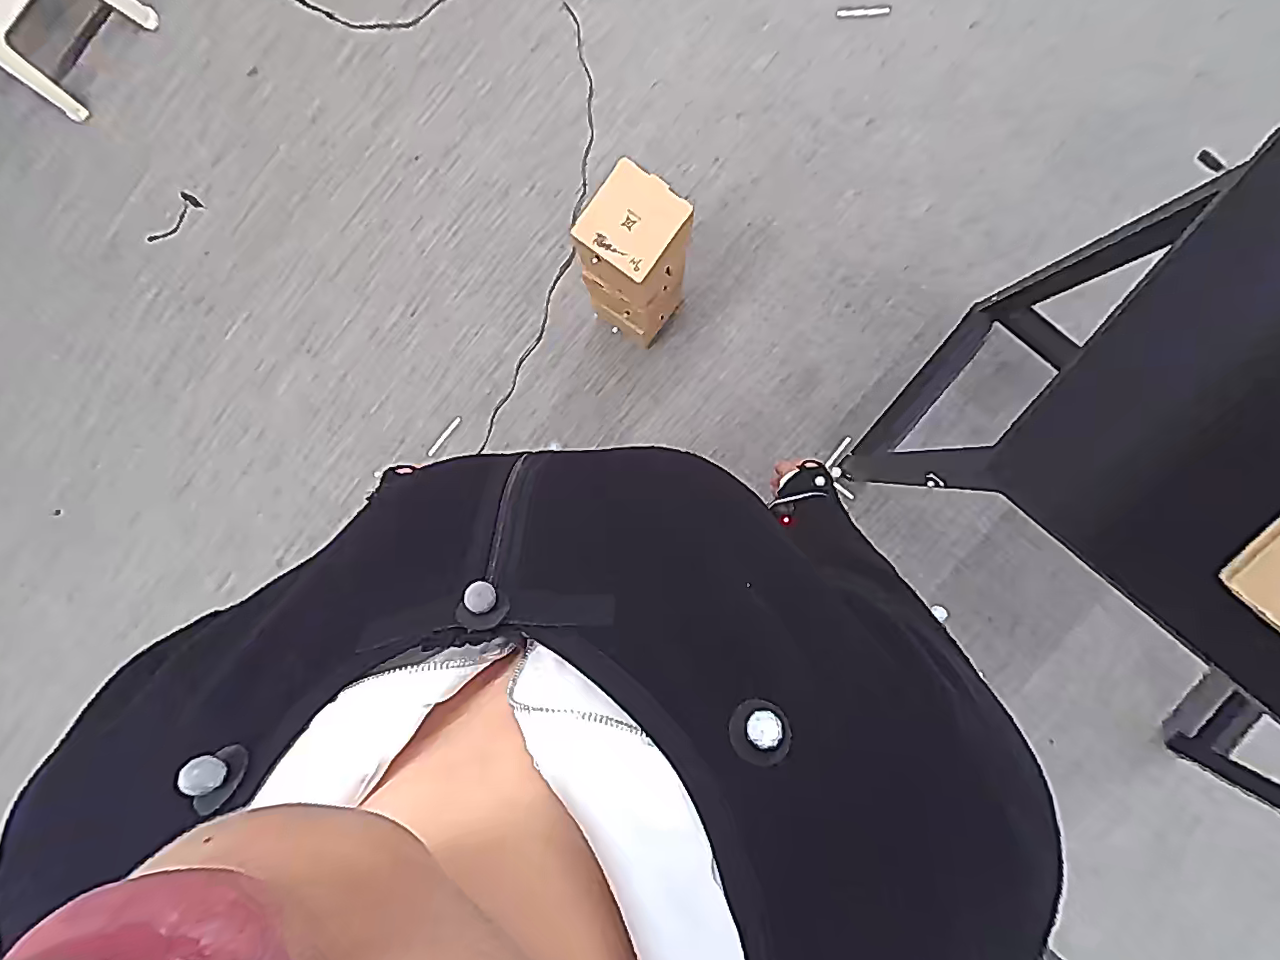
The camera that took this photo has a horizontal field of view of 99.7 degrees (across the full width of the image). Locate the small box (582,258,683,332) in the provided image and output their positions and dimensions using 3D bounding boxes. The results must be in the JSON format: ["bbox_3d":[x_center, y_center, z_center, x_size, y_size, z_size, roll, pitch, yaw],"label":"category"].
[{"bbox_3d":[-0.010,-0.470,1.249,0.168,0.176,0.179,33,91,1],"label":"small box"}]

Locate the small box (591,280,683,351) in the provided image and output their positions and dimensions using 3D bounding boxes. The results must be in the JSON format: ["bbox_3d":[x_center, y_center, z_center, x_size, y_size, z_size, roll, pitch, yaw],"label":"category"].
[{"bbox_3d":[-0.005,-0.465,1.412,0.168,0.176,0.179,37,93,2],"label":"small box"}]

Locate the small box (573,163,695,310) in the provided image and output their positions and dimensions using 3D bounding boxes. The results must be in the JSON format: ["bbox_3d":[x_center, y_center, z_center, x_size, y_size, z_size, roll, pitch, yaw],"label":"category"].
[{"bbox_3d":[-0.011,-0.476,1.085,0.168,0.176,0.179,36,92,2],"label":"small box"}]
